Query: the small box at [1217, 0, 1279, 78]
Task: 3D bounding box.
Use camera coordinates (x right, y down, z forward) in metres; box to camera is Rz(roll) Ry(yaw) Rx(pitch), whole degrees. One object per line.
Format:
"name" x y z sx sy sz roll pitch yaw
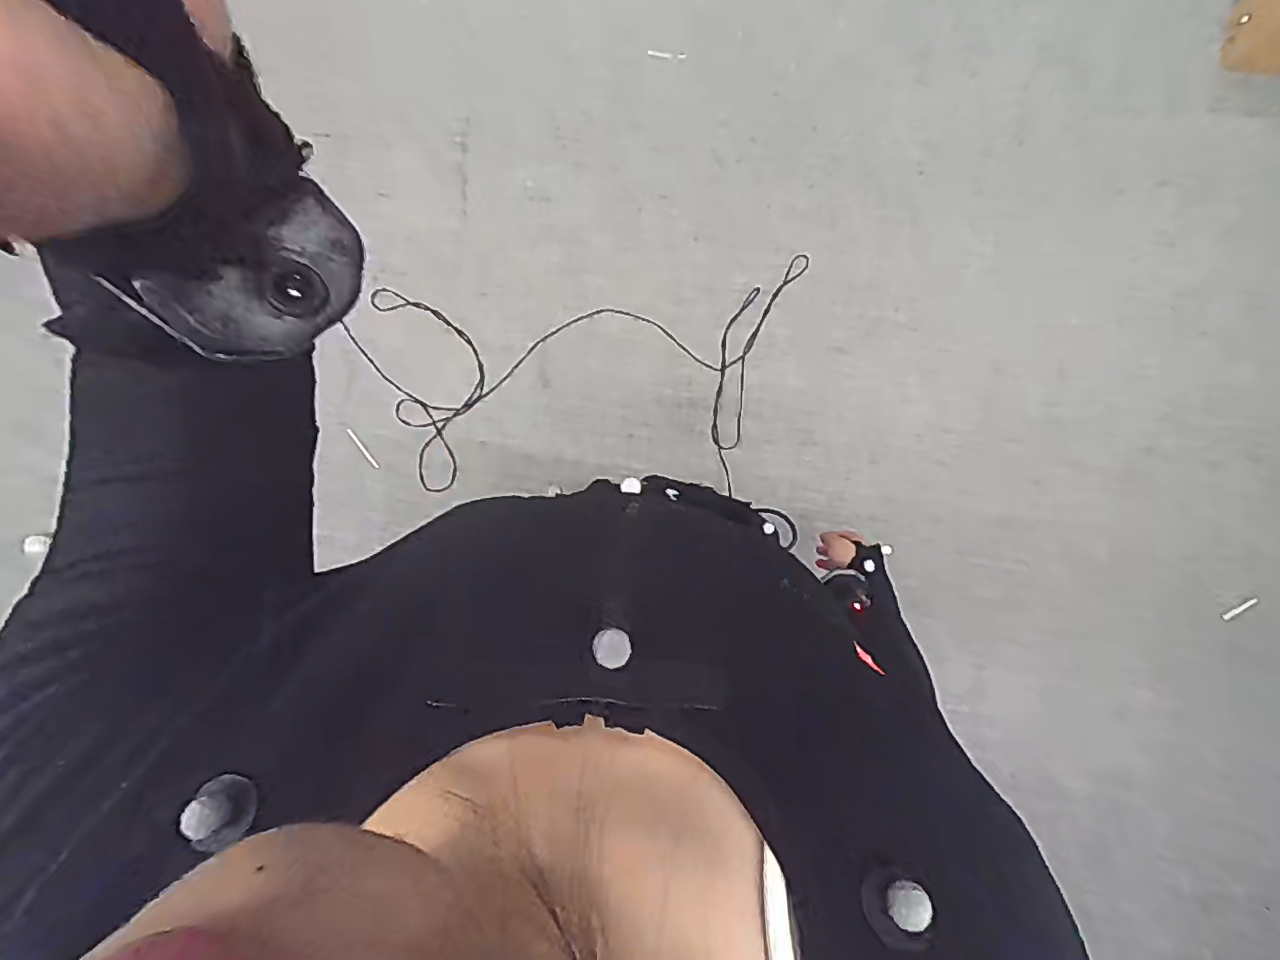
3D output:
"small box" 1.639 -1.160 1.359 0.179 0.176 0.168 13 89 3
